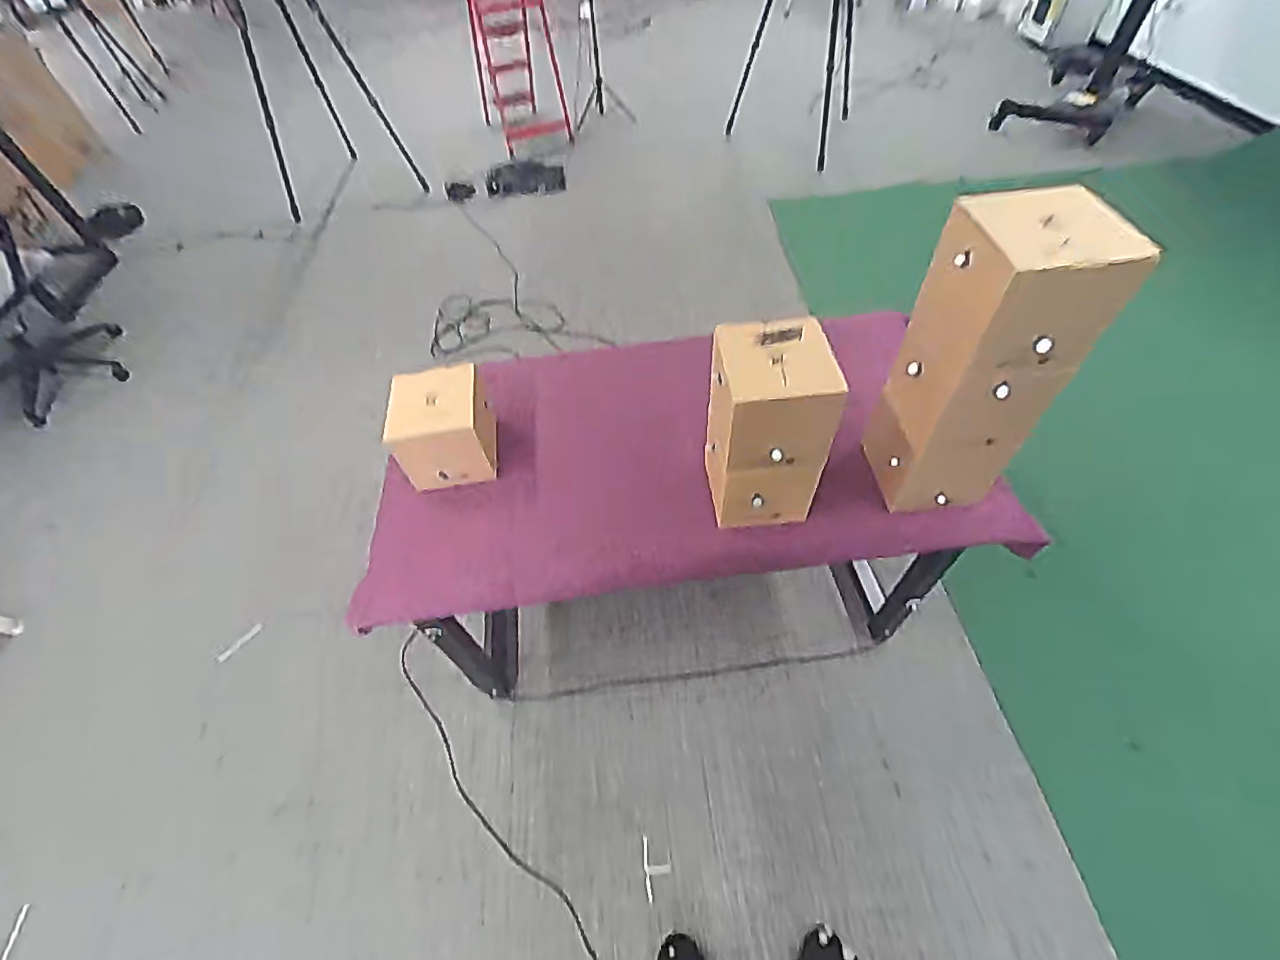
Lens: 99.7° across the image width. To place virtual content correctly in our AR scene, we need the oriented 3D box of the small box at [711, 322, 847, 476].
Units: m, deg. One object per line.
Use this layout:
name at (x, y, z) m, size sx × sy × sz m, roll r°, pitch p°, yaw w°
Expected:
small box at (0.209, -0.128, 0.872) m, size 0.168 × 0.176 × 0.179 m, roll -5°, pitch 52°, yaw 1°

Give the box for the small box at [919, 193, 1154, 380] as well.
small box at (0.512, -0.260, 0.737) m, size 0.168 × 0.176 × 0.179 m, roll -6°, pitch 53°, yaw 2°

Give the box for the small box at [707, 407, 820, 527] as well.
small box at (0.218, -0.025, 1.000) m, size 0.168 × 0.176 × 0.179 m, roll -6°, pitch 51°, yaw 1°

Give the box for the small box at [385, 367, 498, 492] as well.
small box at (-0.392, -0.100, 1.100) m, size 0.168 × 0.176 × 0.179 m, roll -9°, pitch 54°, yaw -2°

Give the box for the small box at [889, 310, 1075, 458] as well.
small box at (0.525, -0.158, 0.865) m, size 0.168 × 0.176 × 0.179 m, roll -5°, pitch 52°, yaw 2°
